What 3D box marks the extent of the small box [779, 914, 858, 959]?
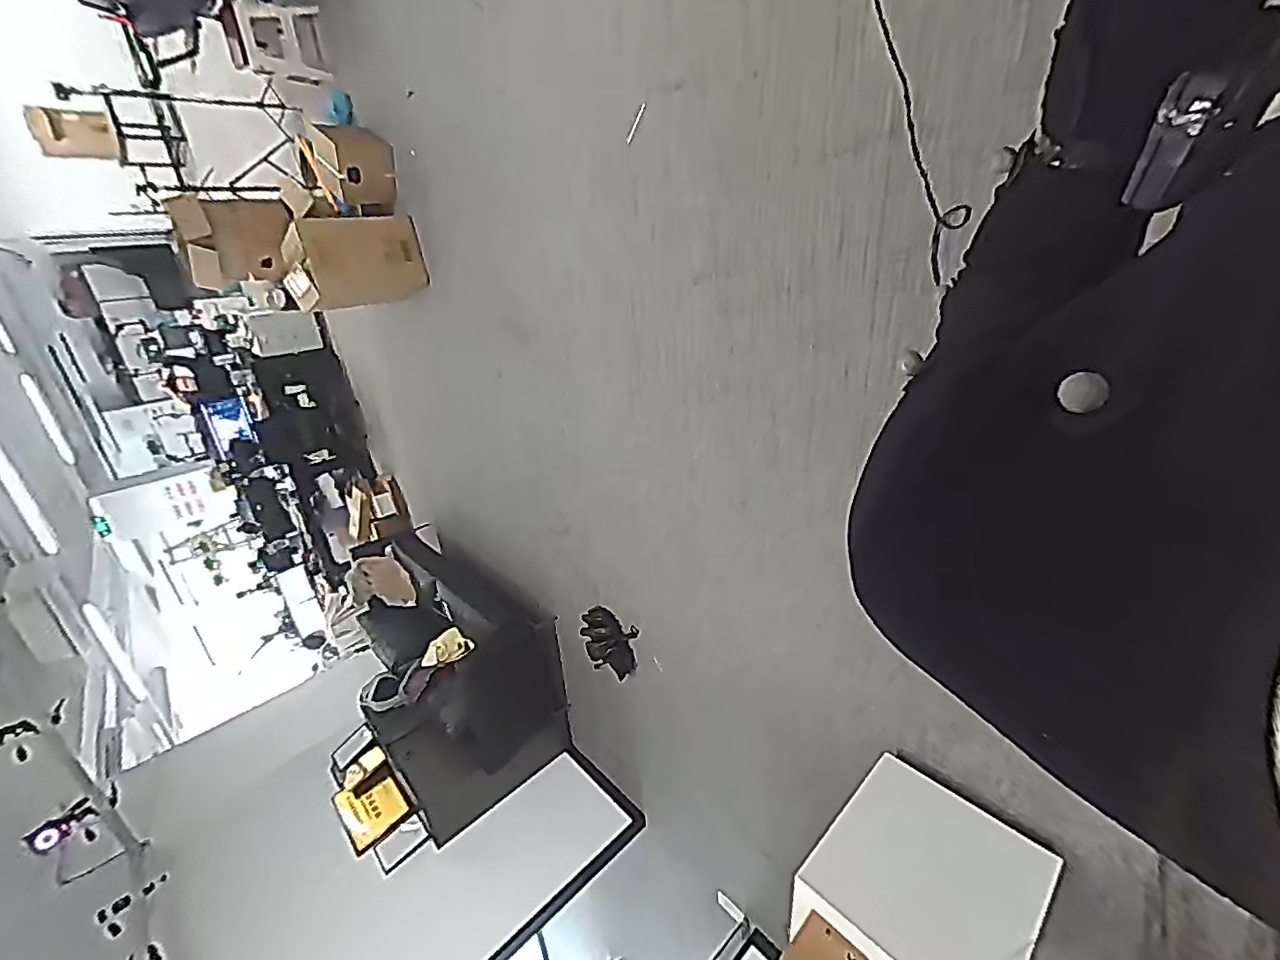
[{"bbox_3d":[0.473,1.317,1.431,0.168,0.176,0.179,22,126,43],"label":"small box"}]
